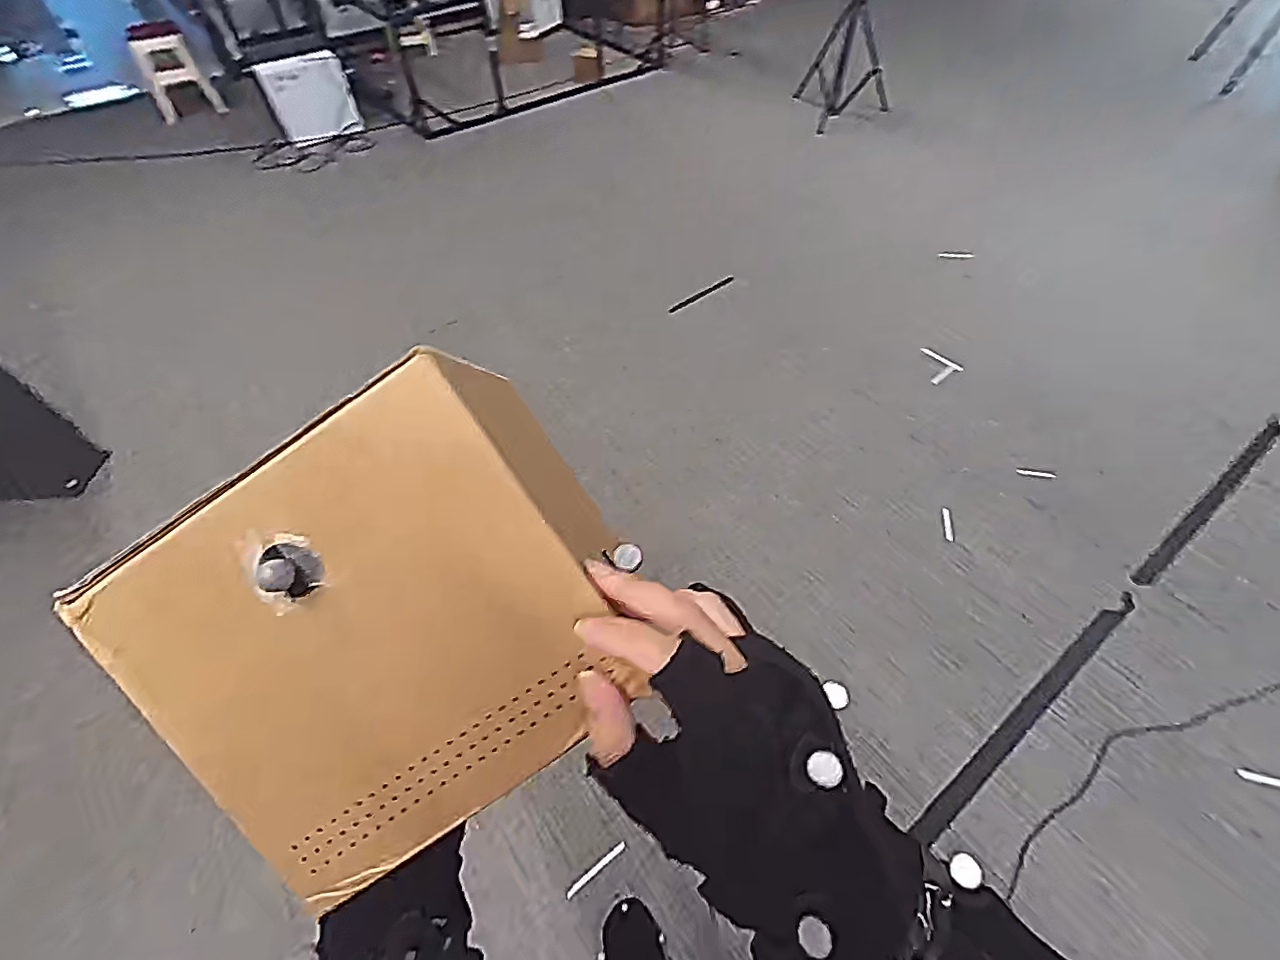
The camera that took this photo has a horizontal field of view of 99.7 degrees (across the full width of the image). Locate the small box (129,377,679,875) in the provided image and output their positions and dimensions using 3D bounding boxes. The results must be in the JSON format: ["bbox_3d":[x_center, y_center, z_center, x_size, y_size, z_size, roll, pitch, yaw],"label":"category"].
[{"bbox_3d":[-0.100,0.065,0.308,0.179,0.168,0.176,-33,97,1],"label":"small box"}]
